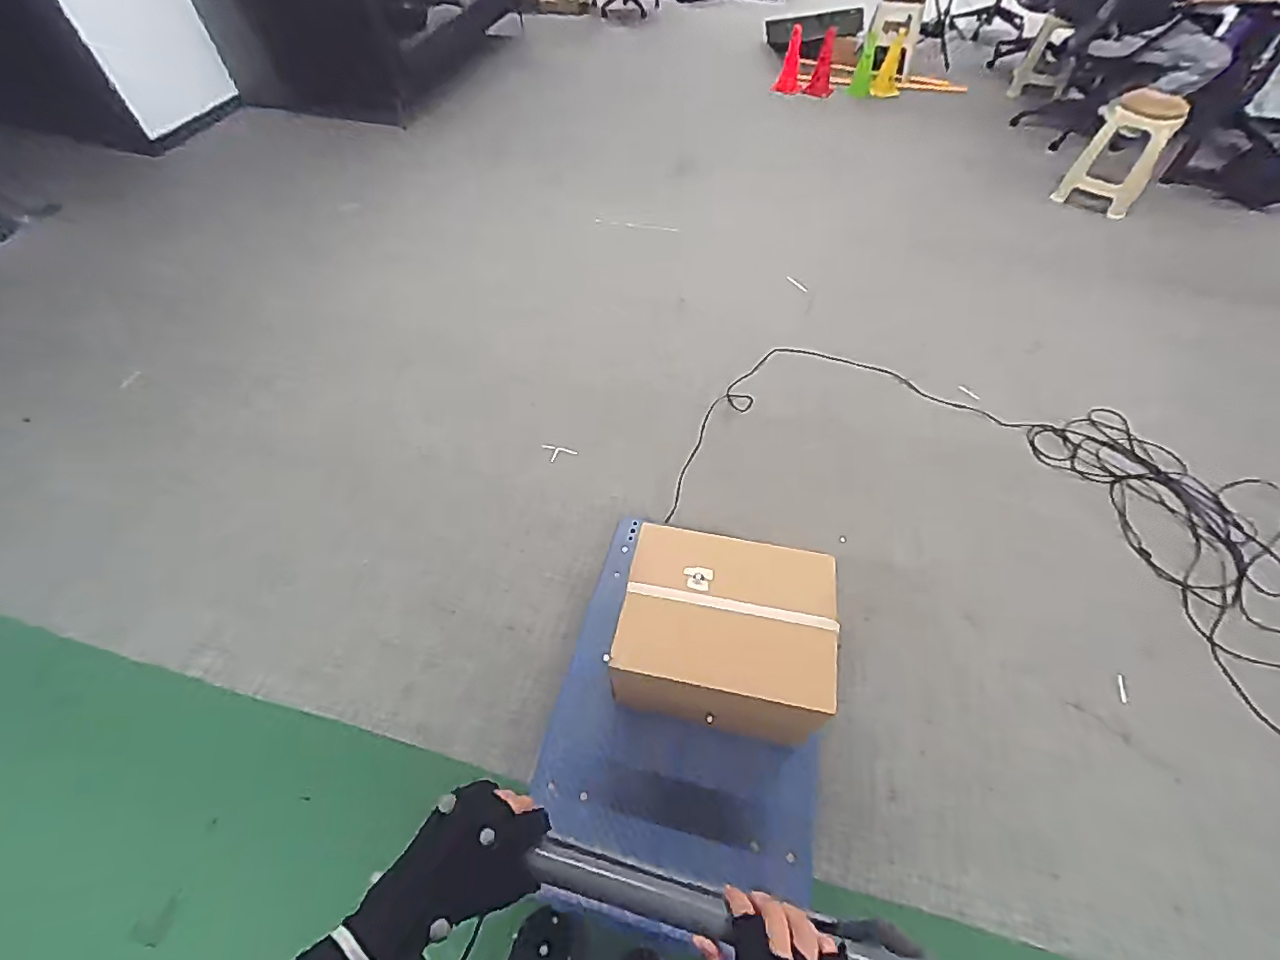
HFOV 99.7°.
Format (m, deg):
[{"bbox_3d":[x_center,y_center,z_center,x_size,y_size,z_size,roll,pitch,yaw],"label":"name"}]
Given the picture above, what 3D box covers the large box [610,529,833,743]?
[{"bbox_3d":[0.172,0.340,1.163,0.408,0.320,0.320,9,54,8],"label":"large box"}]
